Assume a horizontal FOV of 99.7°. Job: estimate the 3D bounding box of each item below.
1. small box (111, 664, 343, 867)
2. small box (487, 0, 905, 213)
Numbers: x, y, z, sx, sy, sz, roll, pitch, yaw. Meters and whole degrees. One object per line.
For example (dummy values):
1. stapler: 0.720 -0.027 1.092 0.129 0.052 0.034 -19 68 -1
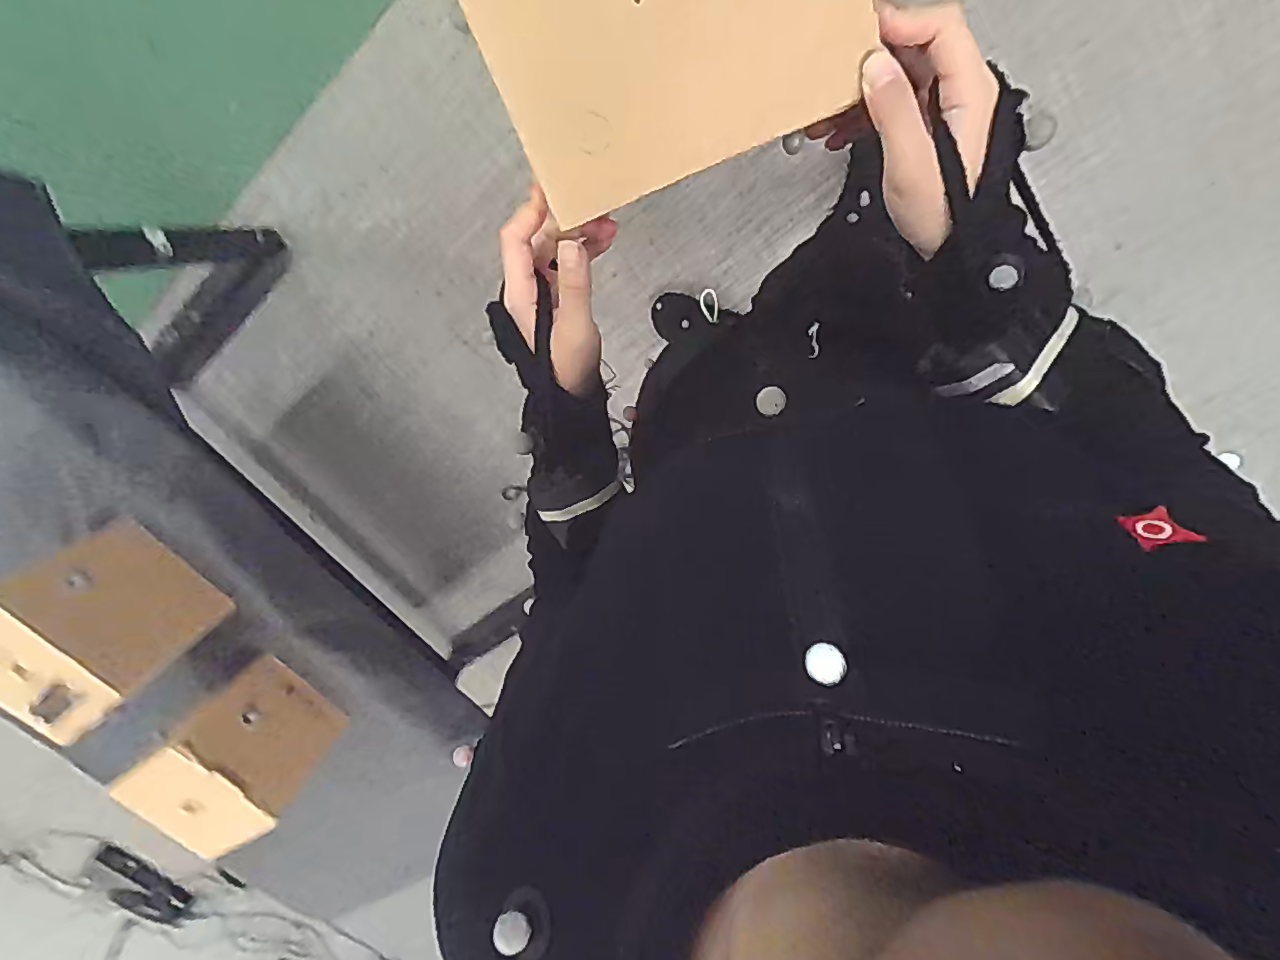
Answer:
1. small box: -0.564 0.396 0.767 0.179 0.176 0.168 -34 106 20
2. small box: 0.013 -0.269 0.292 0.179 0.176 0.168 -20 124 7
